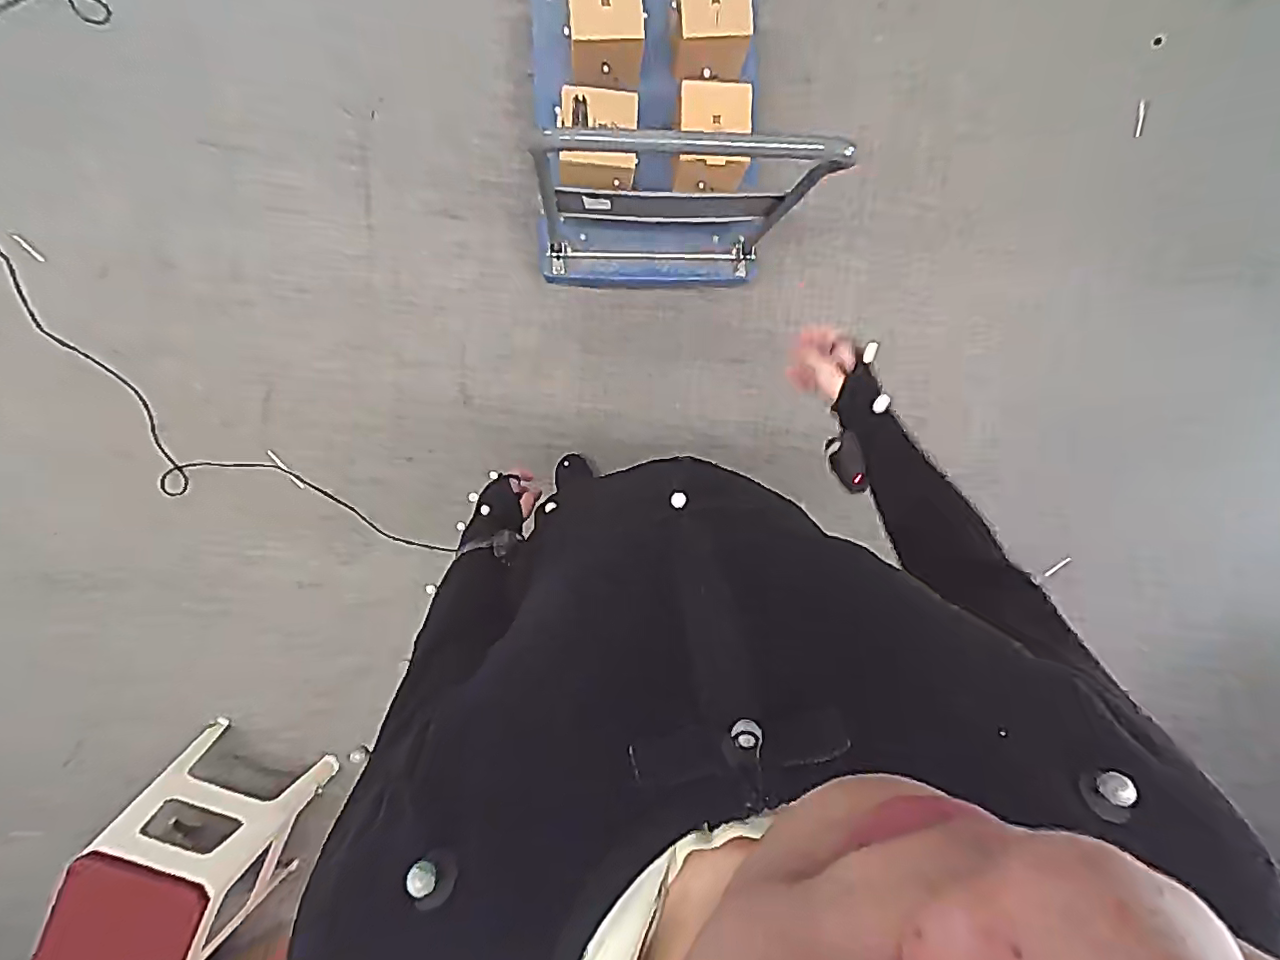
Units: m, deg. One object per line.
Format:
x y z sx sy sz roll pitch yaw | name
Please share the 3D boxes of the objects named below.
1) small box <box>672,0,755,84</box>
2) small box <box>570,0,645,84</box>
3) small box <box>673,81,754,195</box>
0.171 -1.098 1.299 0.168 0.176 0.179 -4 96 -3 | small box
-0.079 -1.077 1.283 0.168 0.176 0.179 -4 95 -5 | small box
0.173 -0.829 1.323 0.168 0.176 0.179 0 95 -5 | small box
